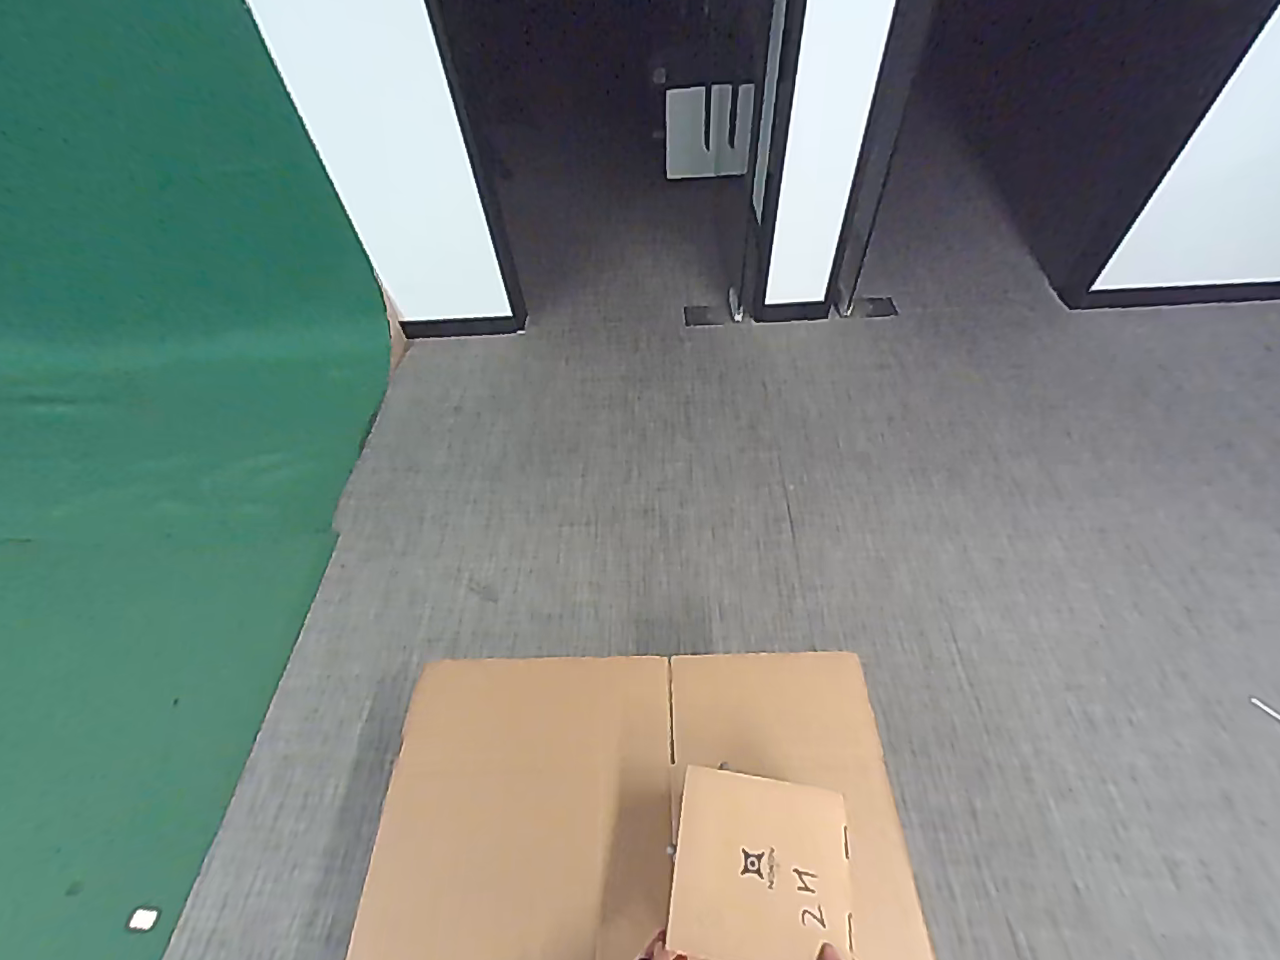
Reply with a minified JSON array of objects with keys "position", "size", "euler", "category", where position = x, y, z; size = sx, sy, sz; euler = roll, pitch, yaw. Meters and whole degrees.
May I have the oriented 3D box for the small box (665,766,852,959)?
[{"position":[0.130,0.445,0.610],"size":[0.179,0.176,0.168],"euler":[5,52,11],"category":"small box"}]
